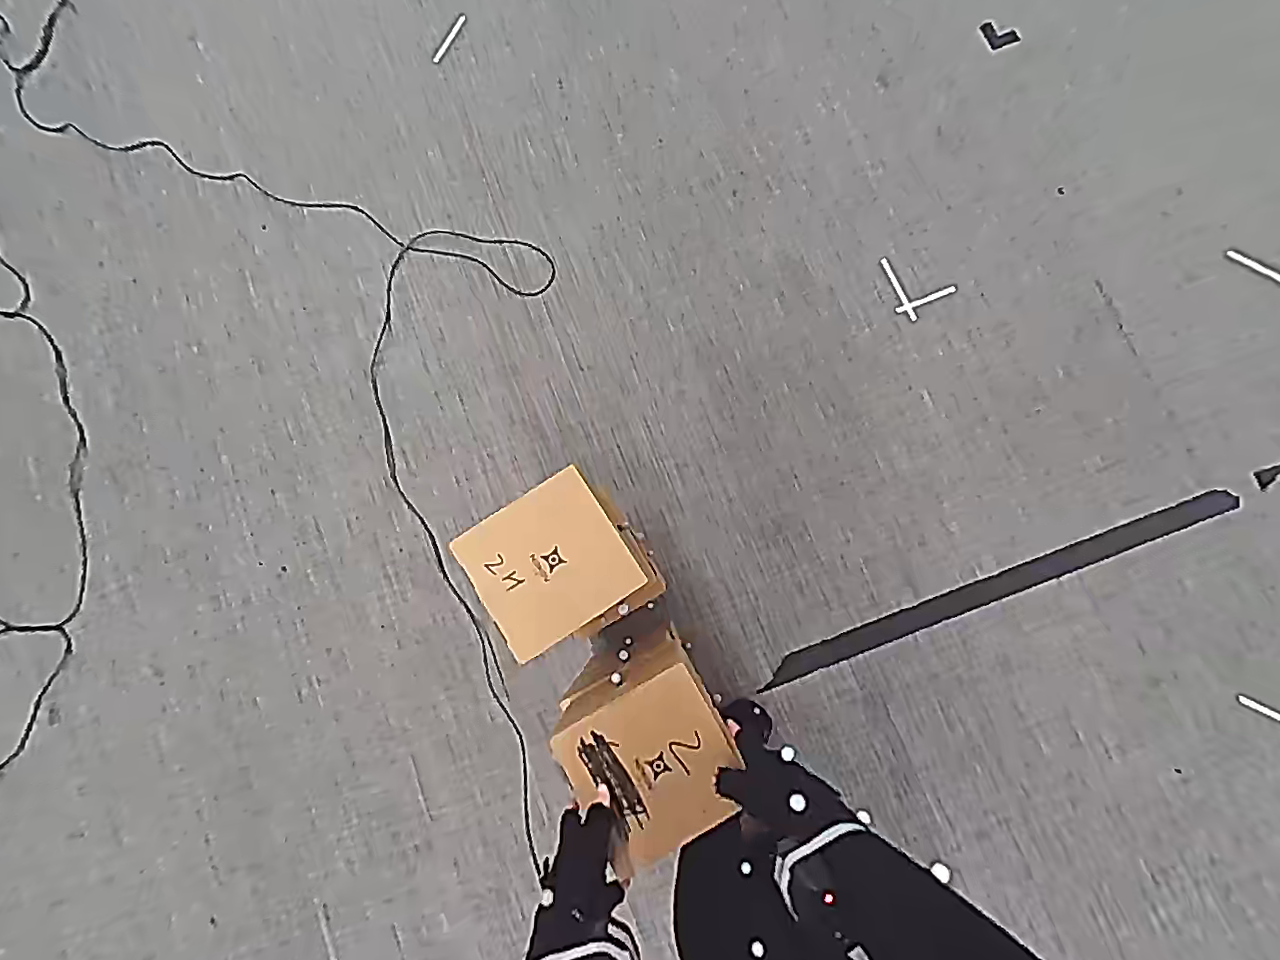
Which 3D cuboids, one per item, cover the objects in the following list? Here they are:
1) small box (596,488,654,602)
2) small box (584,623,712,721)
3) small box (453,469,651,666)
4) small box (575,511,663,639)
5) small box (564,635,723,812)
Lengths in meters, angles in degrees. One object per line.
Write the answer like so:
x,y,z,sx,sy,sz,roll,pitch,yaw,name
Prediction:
-0.089,0.134,0.862,0.179,0.176,0.168,-30,83,-4,small box
0.014,0.376,0.993,0.179,0.176,0.168,-24,82,-1,small box
-0.102,0.107,0.700,0.179,0.176,0.168,-33,82,-3,small box
-0.068,0.177,1.022,0.179,0.176,0.168,-31,83,-3,small box
0.004,0.355,0.830,0.179,0.176,0.168,-27,82,-3,small box
